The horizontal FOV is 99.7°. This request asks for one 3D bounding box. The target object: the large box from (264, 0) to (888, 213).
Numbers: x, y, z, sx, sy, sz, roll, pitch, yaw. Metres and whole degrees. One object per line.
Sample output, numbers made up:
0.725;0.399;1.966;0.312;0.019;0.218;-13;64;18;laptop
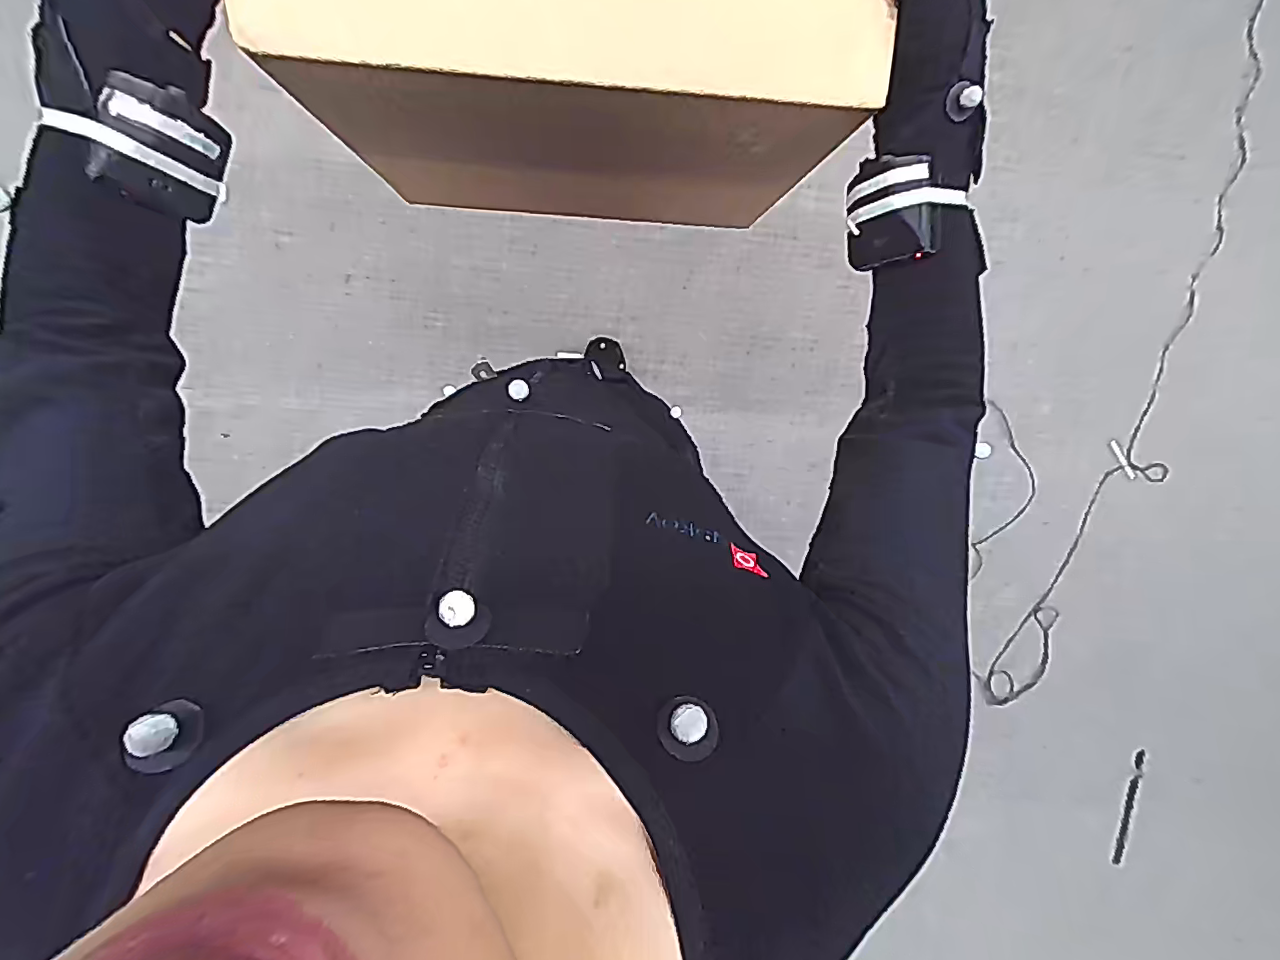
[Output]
-0.045;-0.444;0.466;0.408;0.320;0.320;1;102;-6;large box
